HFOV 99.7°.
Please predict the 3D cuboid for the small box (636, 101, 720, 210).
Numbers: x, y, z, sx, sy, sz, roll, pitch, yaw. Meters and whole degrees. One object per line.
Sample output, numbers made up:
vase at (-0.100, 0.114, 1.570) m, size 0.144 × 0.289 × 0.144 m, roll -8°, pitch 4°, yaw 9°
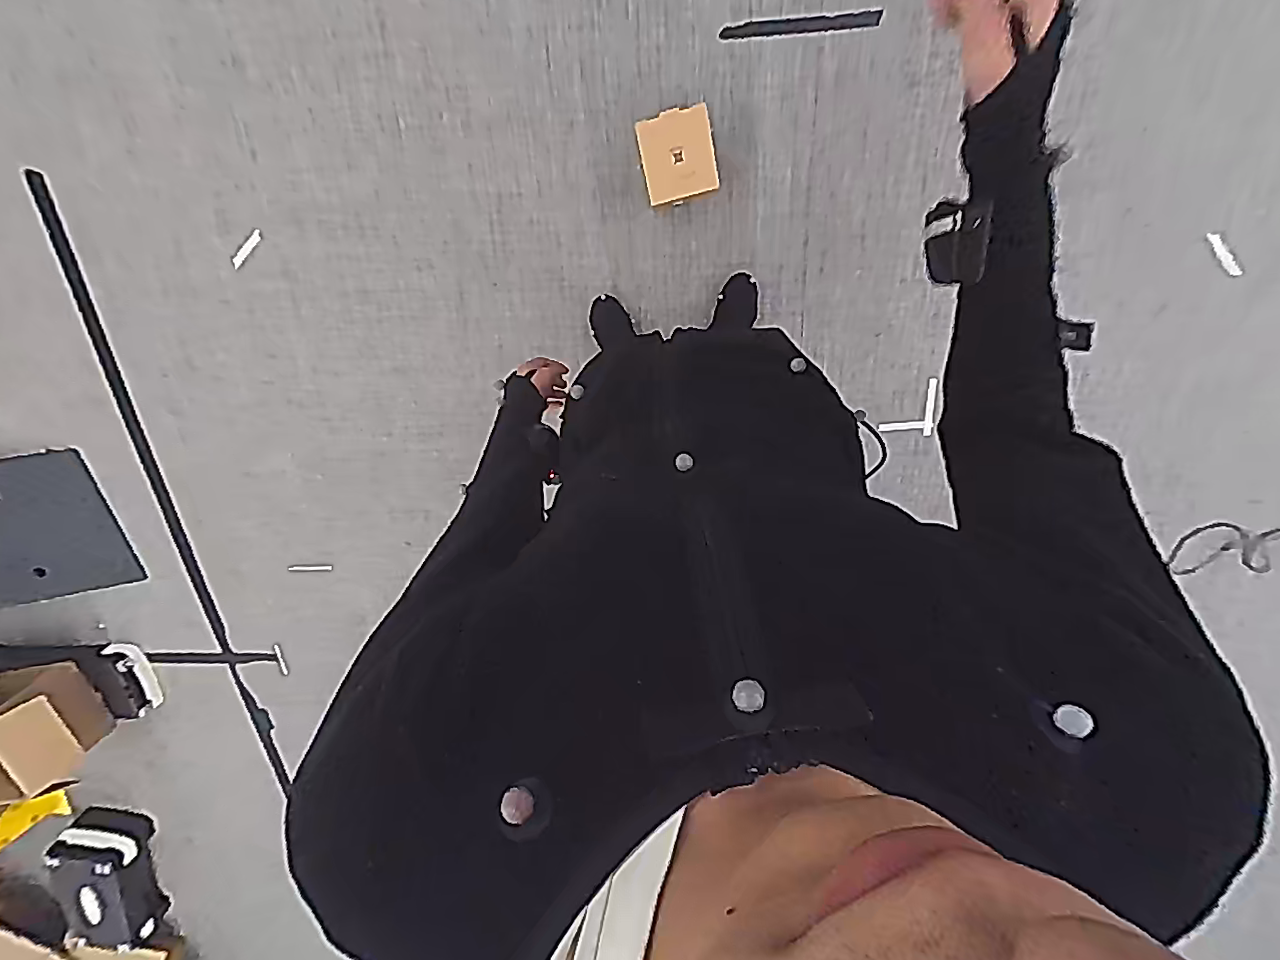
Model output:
small box at (0.088, -0.765, 1.293) m, size 0.168 × 0.176 × 0.179 m, roll -12°, pitch 111°, yaw 7°
